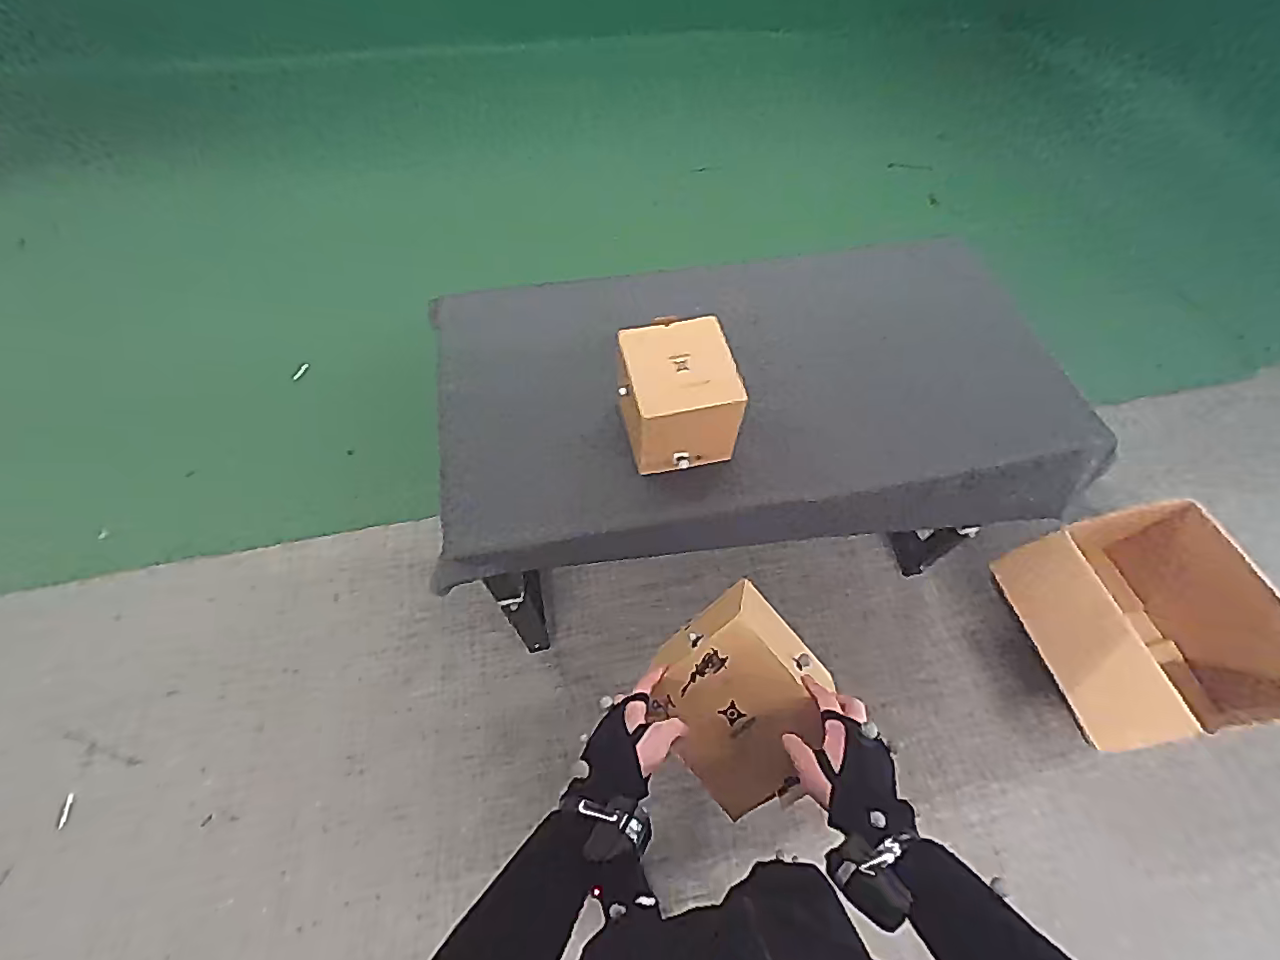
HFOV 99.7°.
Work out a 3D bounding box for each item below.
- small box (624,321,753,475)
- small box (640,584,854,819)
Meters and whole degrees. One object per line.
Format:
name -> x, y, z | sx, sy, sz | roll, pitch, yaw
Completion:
small box -> 0.069, -0.134, 0.905 | 0.168, 0.176, 0.179 | -12, 60, -8
small box -> 0.131, 0.255, 0.666 | 0.168, 0.176, 0.179 | -42, 83, 12
